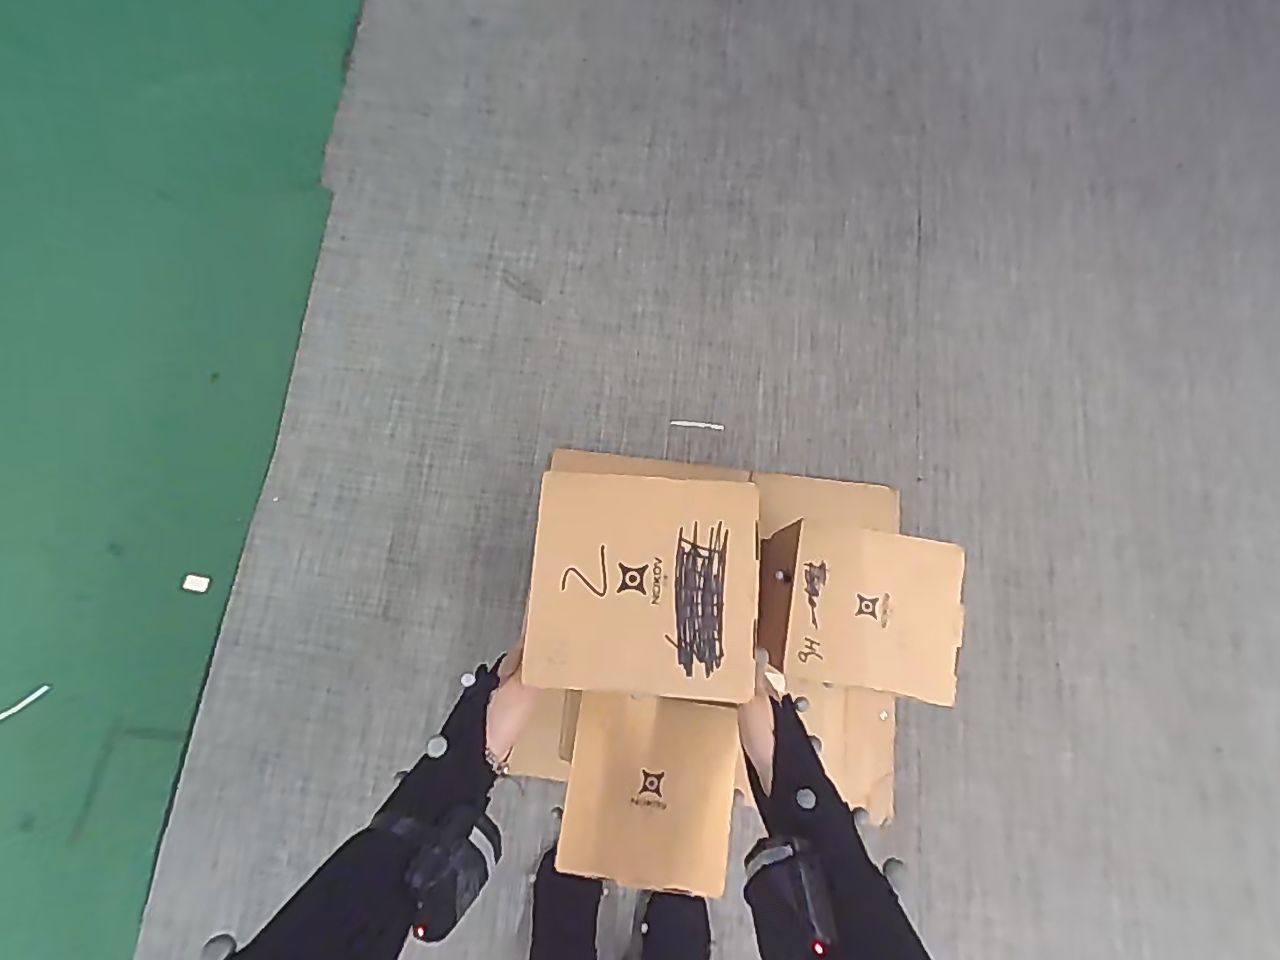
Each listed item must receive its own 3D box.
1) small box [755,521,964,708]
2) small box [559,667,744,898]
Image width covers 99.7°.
[{"bbox_3d":[0.246,0.153,0.642,0.179,0.176,0.168,10,78,5],"label":"small box"},{"bbox_3d":[0.013,0.319,0.610,0.168,0.176,0.179,7,79,2],"label":"small box"}]
